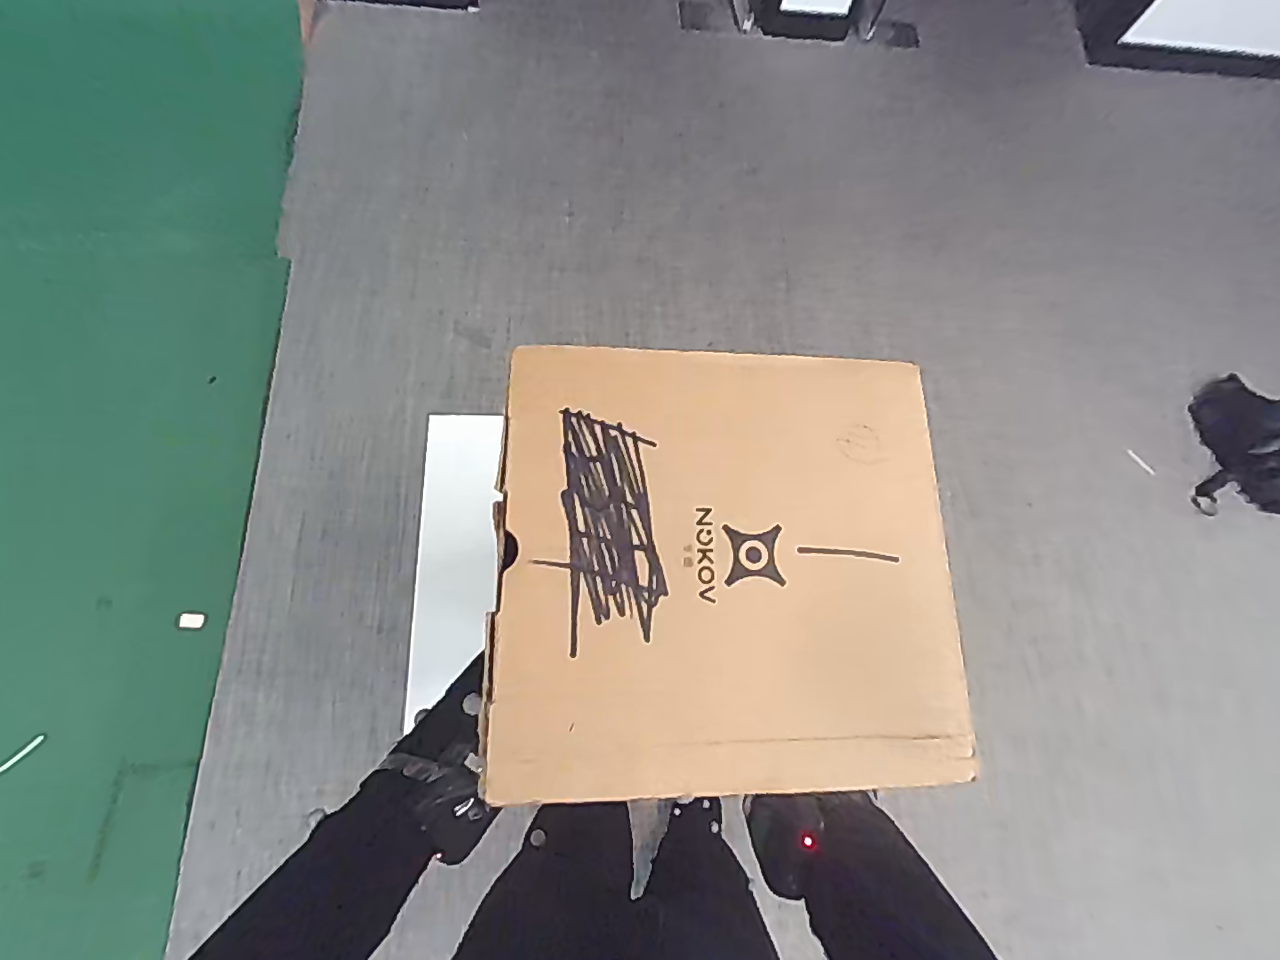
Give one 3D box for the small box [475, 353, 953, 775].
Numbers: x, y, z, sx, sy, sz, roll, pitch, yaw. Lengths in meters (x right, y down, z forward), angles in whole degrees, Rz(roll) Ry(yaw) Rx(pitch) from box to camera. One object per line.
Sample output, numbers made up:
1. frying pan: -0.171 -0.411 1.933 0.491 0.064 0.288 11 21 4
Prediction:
1. small box: 0.022 0.050 0.290 0.179 0.176 0.168 2 73 -6
